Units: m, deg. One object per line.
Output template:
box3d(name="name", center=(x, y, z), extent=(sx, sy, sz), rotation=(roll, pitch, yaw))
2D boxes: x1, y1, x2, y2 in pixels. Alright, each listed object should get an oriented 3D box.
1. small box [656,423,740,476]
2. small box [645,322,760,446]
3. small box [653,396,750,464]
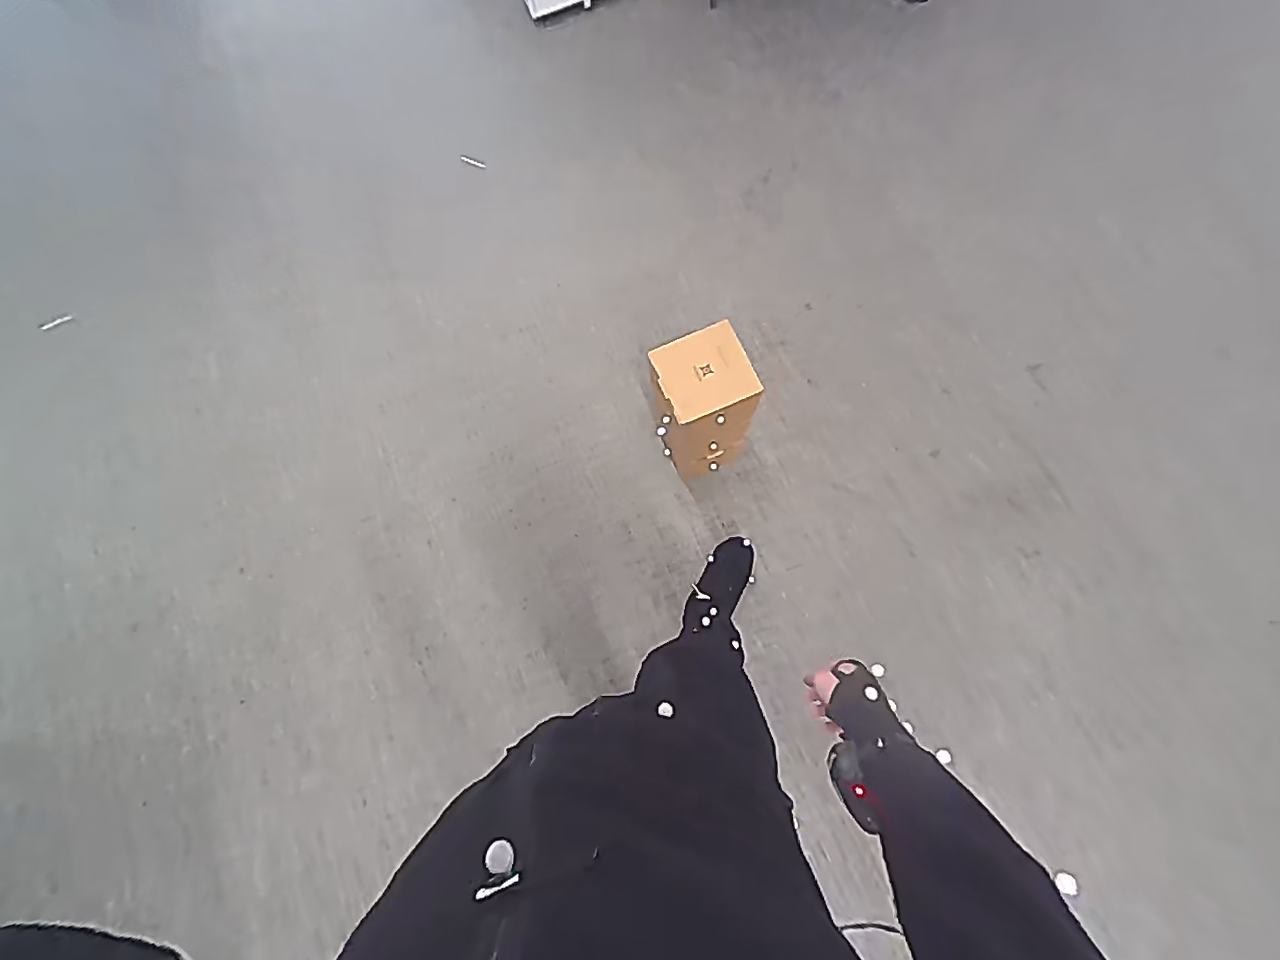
box3d(name="small box", center=(0.148, -0.122, 1.434), extent=(0.168, 0.176, 0.179), rotation=(-22, 77, -3))
box3d(name="small box", center=(0.123, -0.188, 1.115), extent=(0.179, 0.176, 0.168), rotation=(-23, 77, -4))
box3d(name="small box", center=(0.135, -0.157, 1.273), extent=(0.179, 0.176, 0.168), rotation=(-24, 76, -2))
